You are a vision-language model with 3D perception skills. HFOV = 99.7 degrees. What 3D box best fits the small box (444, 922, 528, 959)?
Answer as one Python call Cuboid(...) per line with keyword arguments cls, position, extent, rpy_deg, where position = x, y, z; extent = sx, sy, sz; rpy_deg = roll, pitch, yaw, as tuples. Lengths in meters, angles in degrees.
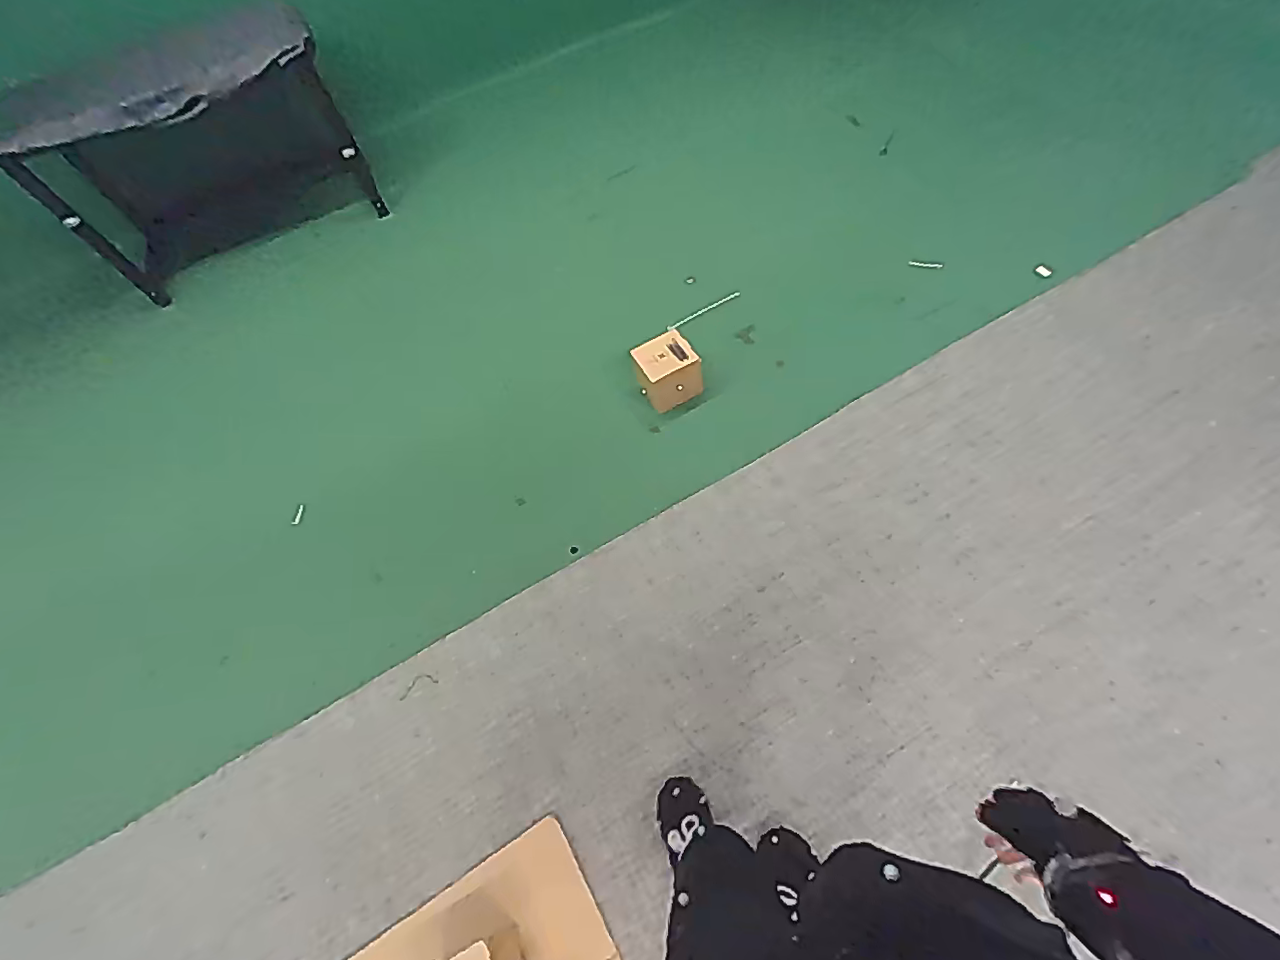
Cuboid(cls="small box", position=(-0.320, 1.009, 1.051), extent=(0.179, 0.176, 0.168), rpy_deg=(-28, 60, -7))
